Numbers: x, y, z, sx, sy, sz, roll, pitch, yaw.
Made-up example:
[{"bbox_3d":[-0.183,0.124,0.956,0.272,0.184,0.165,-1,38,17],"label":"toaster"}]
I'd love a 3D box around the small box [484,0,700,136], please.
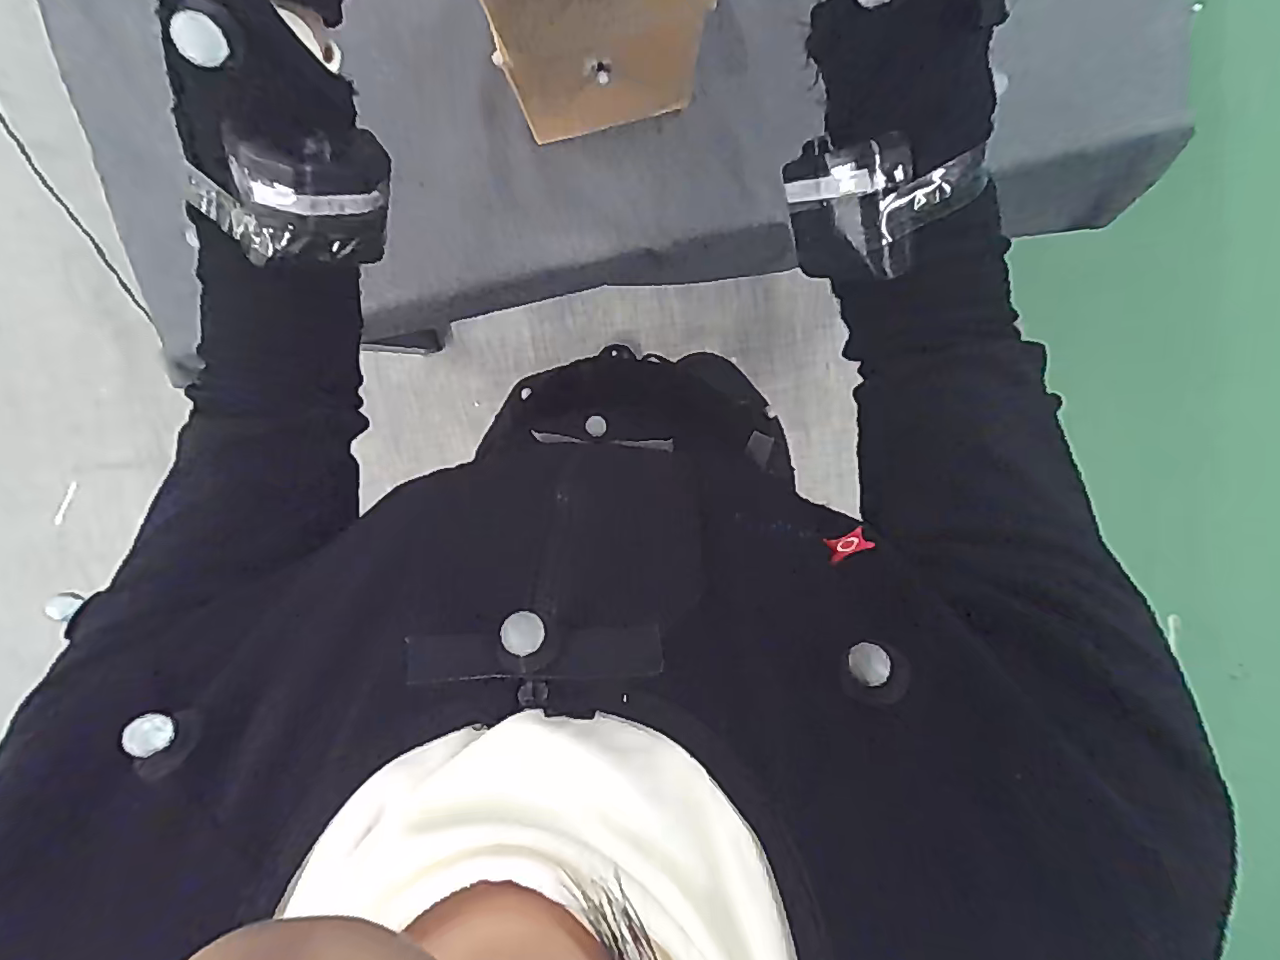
[{"bbox_3d":[-0.049,-0.459,0.512,0.179,0.176,0.168,-12,102,2],"label":"small box"}]

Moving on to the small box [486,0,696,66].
[{"bbox_3d":[-0.042,-0.422,0.352,0.179,0.176,0.168,-16,102,3],"label":"small box"}]
